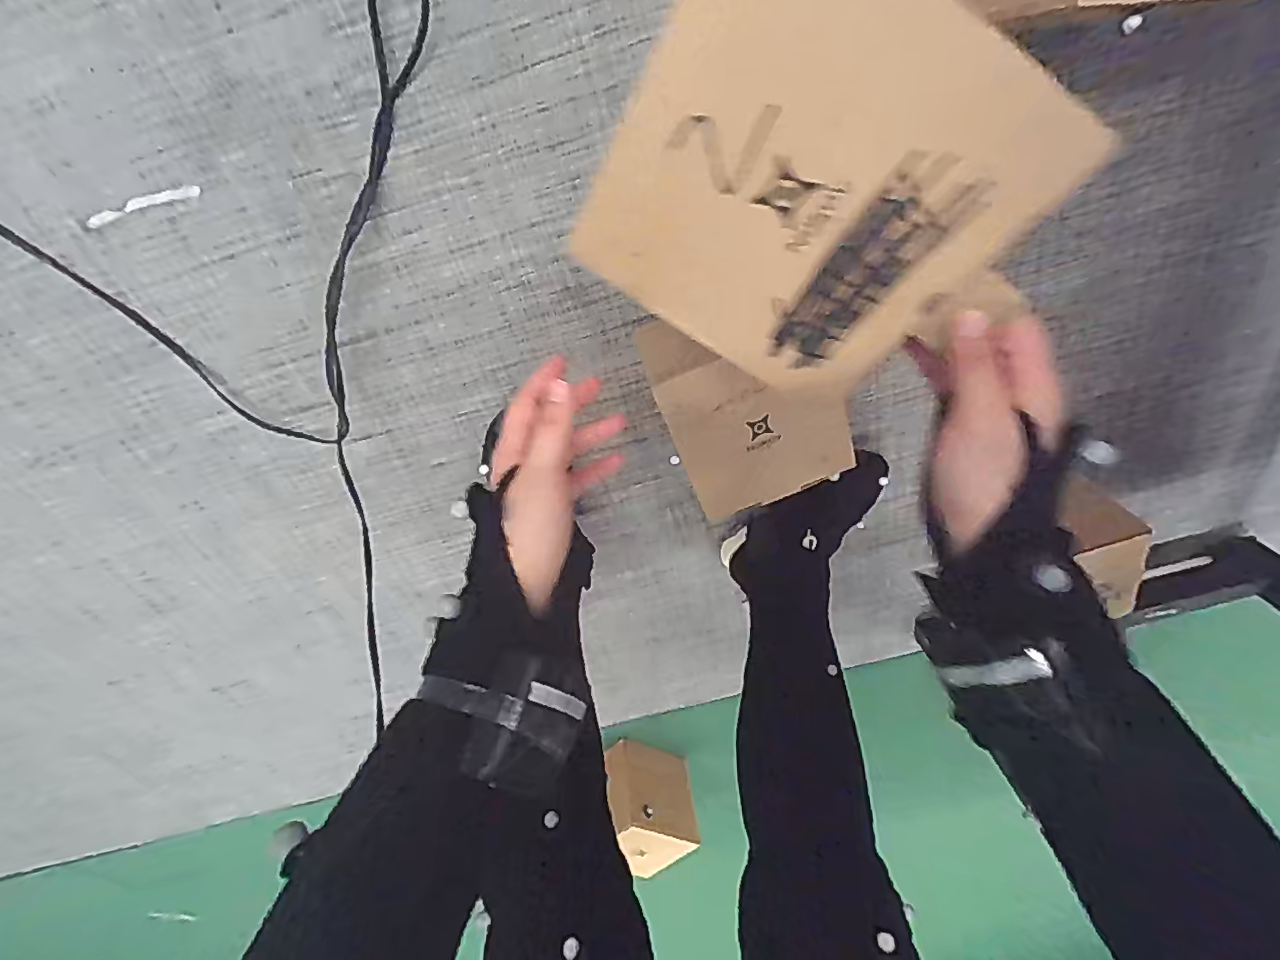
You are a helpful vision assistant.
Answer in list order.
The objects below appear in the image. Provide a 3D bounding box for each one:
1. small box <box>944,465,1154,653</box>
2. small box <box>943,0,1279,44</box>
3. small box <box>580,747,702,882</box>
[{"bbox_3d":[0.557,0.108,0.768,0.179,0.176,0.168,-20,124,7],"label":"small box"},{"bbox_3d":[0.352,-0.434,0.384,0.168,0.176,0.179,-6,125,-3],"label":"small box"},{"bbox_3d":[-0.003,0.665,1.082,0.179,0.176,0.168,32,115,-24],"label":"small box"}]
